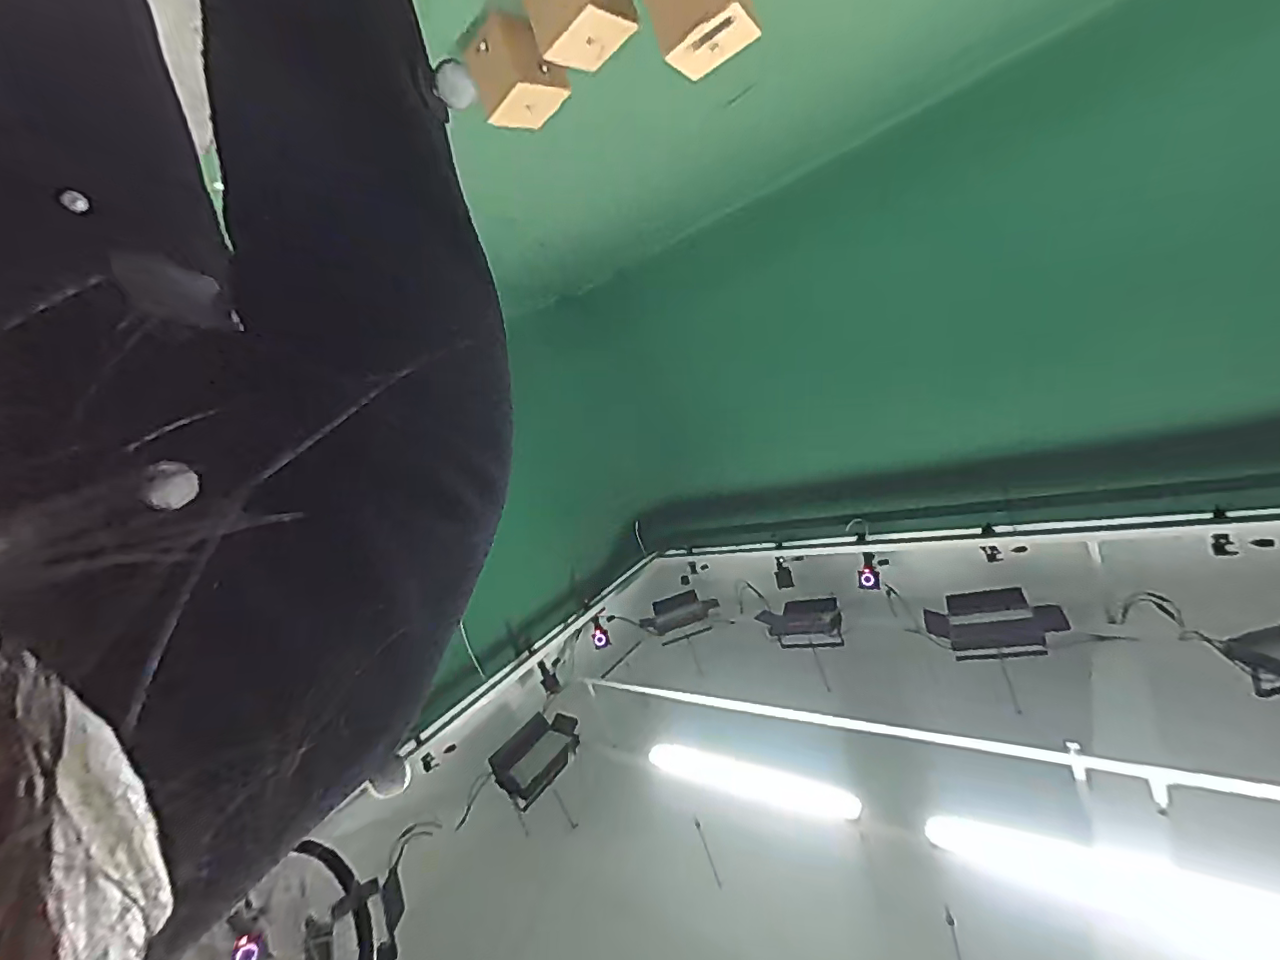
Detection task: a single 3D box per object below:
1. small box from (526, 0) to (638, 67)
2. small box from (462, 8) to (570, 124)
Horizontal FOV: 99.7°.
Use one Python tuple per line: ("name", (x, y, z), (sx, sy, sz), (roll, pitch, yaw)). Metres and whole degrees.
("small box", (-0.140, -1.073, 1.199), (0.168, 0.176, 0.179), (-10, -165, 43))
("small box", (-0.316, -1.042, 1.371), (0.168, 0.176, 0.179), (-10, -165, 46))
